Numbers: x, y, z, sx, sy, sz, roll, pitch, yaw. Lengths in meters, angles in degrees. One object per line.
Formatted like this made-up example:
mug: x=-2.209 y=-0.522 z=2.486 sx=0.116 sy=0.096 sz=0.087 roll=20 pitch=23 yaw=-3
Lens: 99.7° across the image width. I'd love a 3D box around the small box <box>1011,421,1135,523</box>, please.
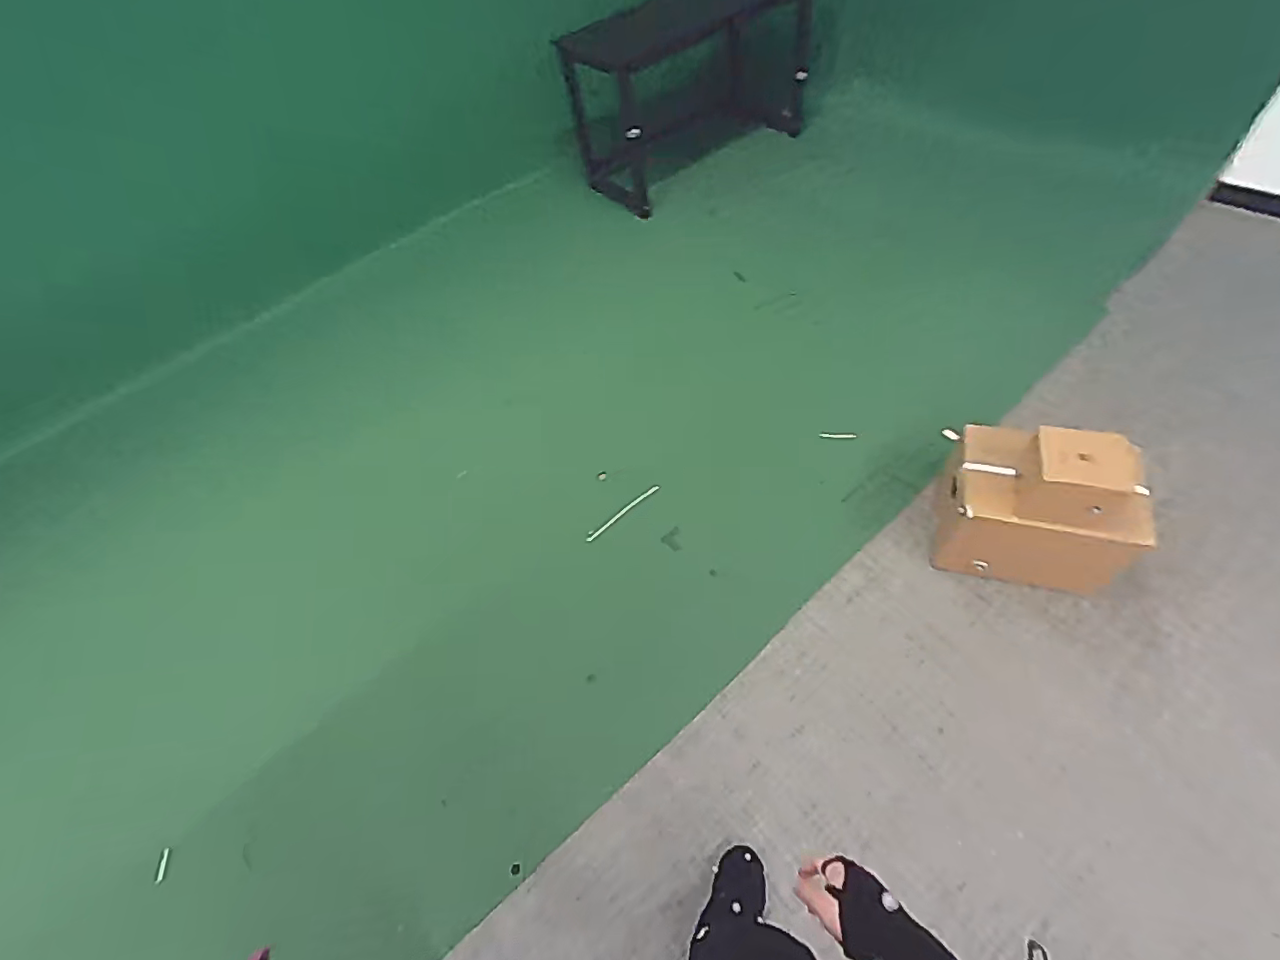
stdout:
small box: x=1.018 y=-0.014 z=1.288 sx=0.179 sy=0.176 sz=0.168 roll=10 pitch=58 yaw=18
